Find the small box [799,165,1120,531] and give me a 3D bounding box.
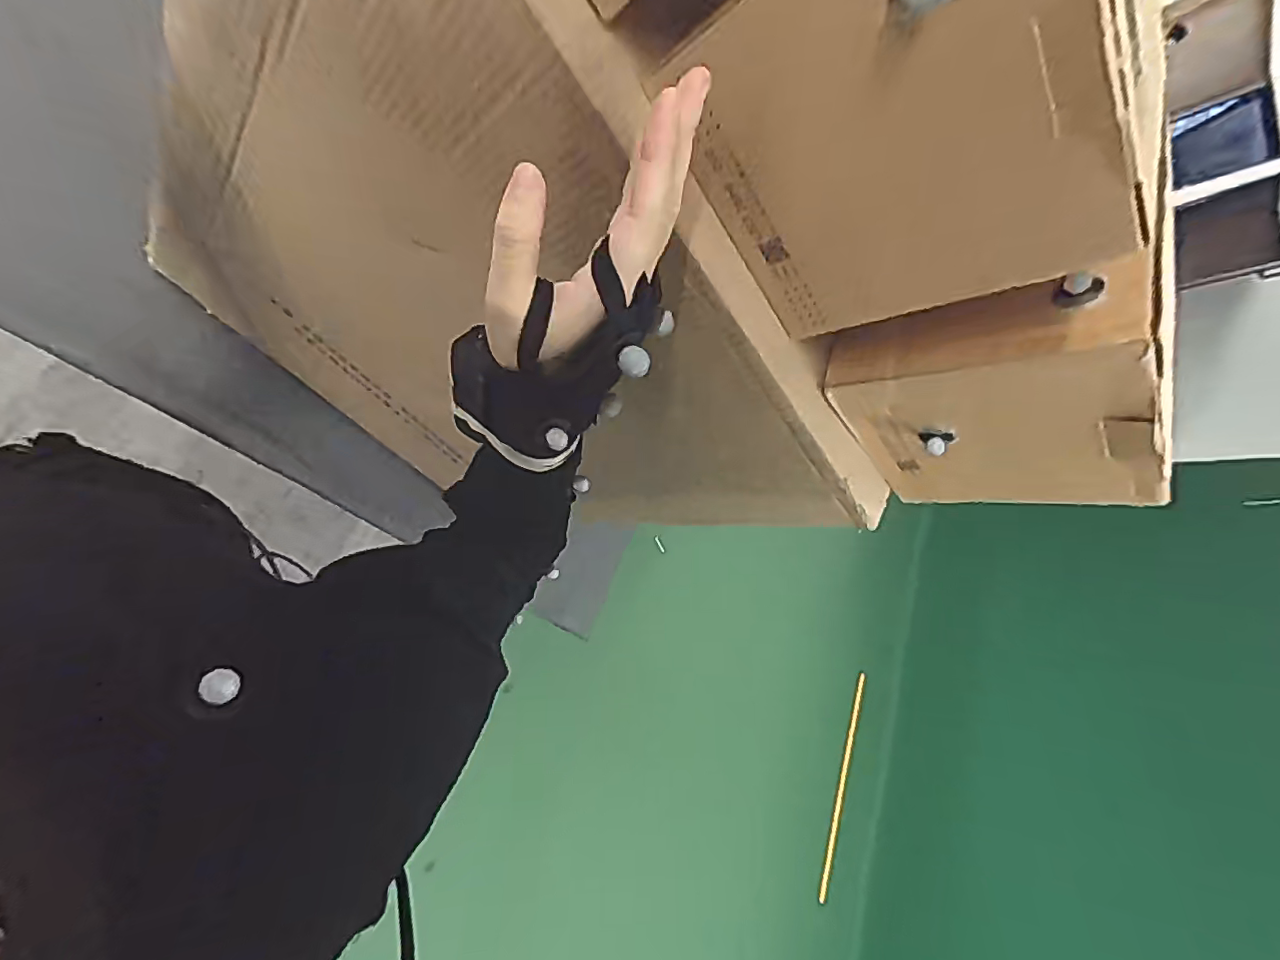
[{"bbox_3d":[0.238,-0.082,0.402,0.168,0.176,0.179,39,66,-41],"label":"small box"}]
